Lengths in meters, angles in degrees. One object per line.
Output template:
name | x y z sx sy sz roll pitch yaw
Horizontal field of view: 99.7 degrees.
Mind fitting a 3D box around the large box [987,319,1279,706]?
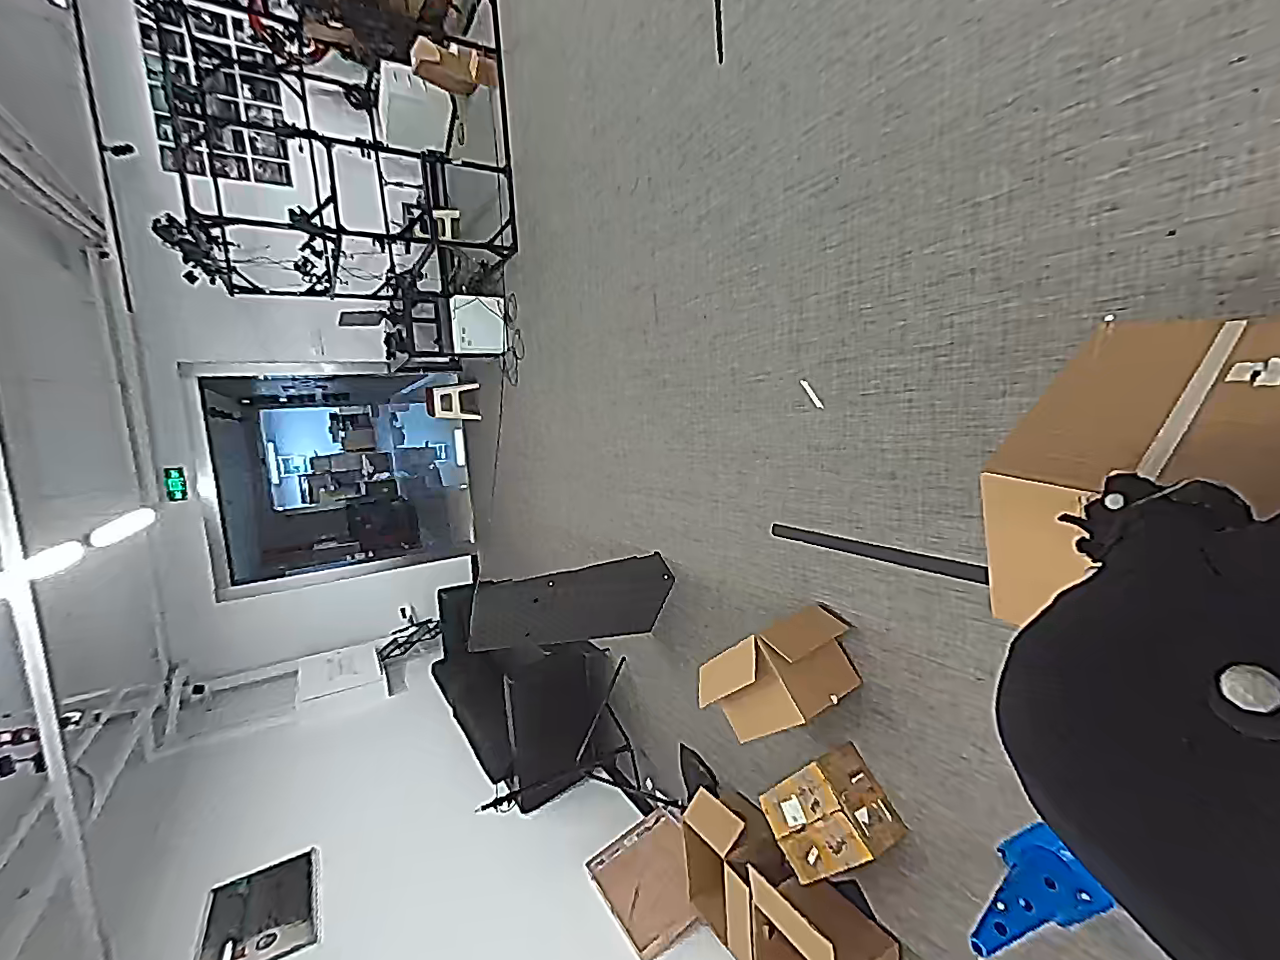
large box | 0.754 0.014 0.761 0.320 0.408 0.320 22 145 52
